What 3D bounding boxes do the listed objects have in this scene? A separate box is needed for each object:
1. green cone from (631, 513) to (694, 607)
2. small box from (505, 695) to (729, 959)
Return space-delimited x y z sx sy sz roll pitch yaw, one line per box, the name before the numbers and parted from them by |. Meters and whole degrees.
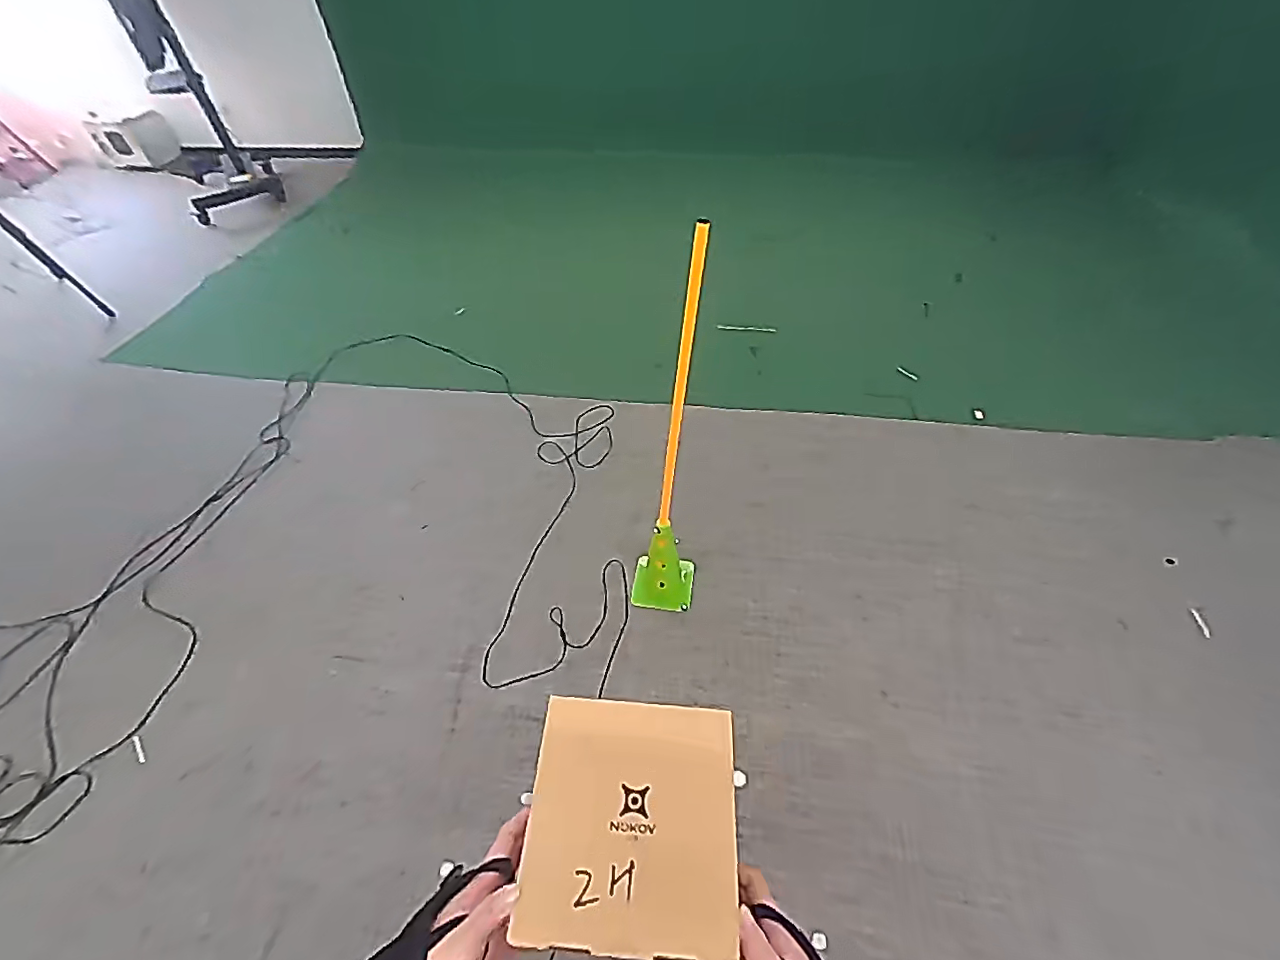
green cone | 0.073 0.229 1.741 0.202 0.368 0.200 6 49 8
small box | -0.013 0.322 0.499 0.168 0.176 0.179 5 50 2
